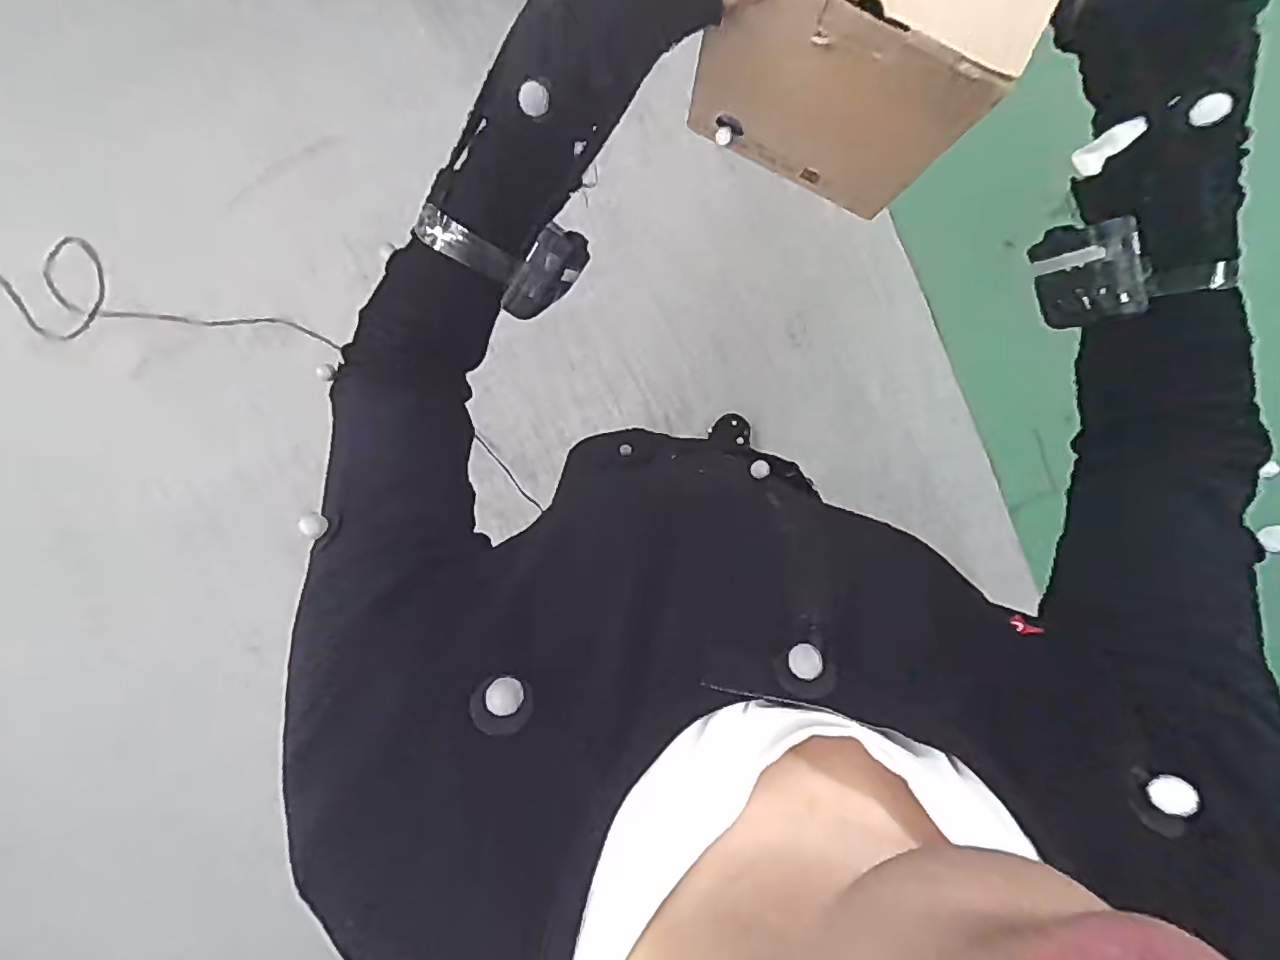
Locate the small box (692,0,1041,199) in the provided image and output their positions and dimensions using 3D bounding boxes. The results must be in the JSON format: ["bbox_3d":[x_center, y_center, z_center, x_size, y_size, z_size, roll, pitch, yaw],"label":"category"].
[{"bbox_3d":[0.142,-0.316,0.336,0.168,0.176,0.179,25,93,-3],"label":"small box"}]
